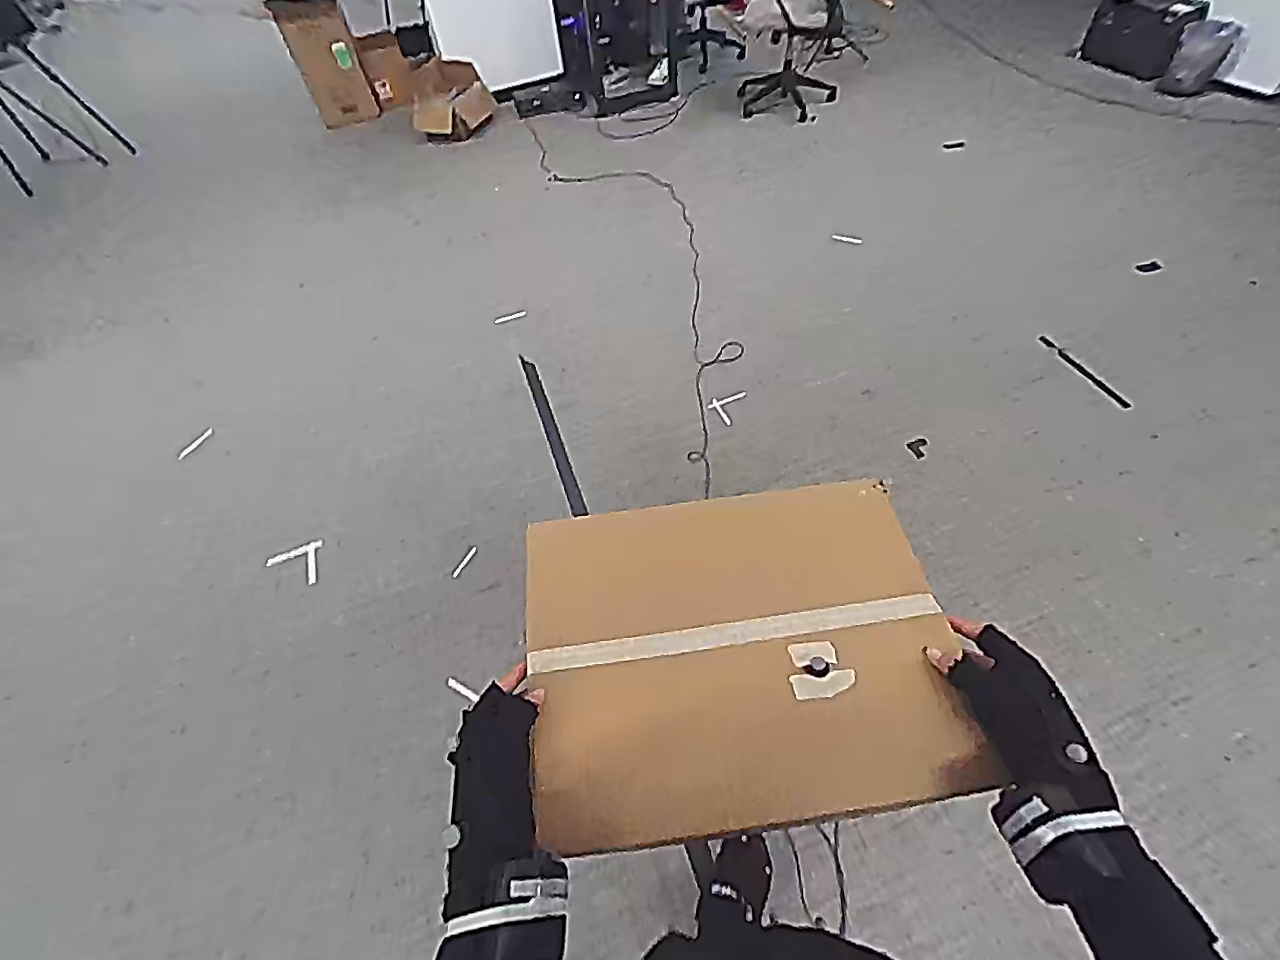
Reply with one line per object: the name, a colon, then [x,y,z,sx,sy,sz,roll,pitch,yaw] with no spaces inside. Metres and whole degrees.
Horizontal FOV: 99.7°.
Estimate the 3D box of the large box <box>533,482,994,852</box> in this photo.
large box: [0.099,0.238,0.664,0.408,0.320,0.320,-7,55,-2]
